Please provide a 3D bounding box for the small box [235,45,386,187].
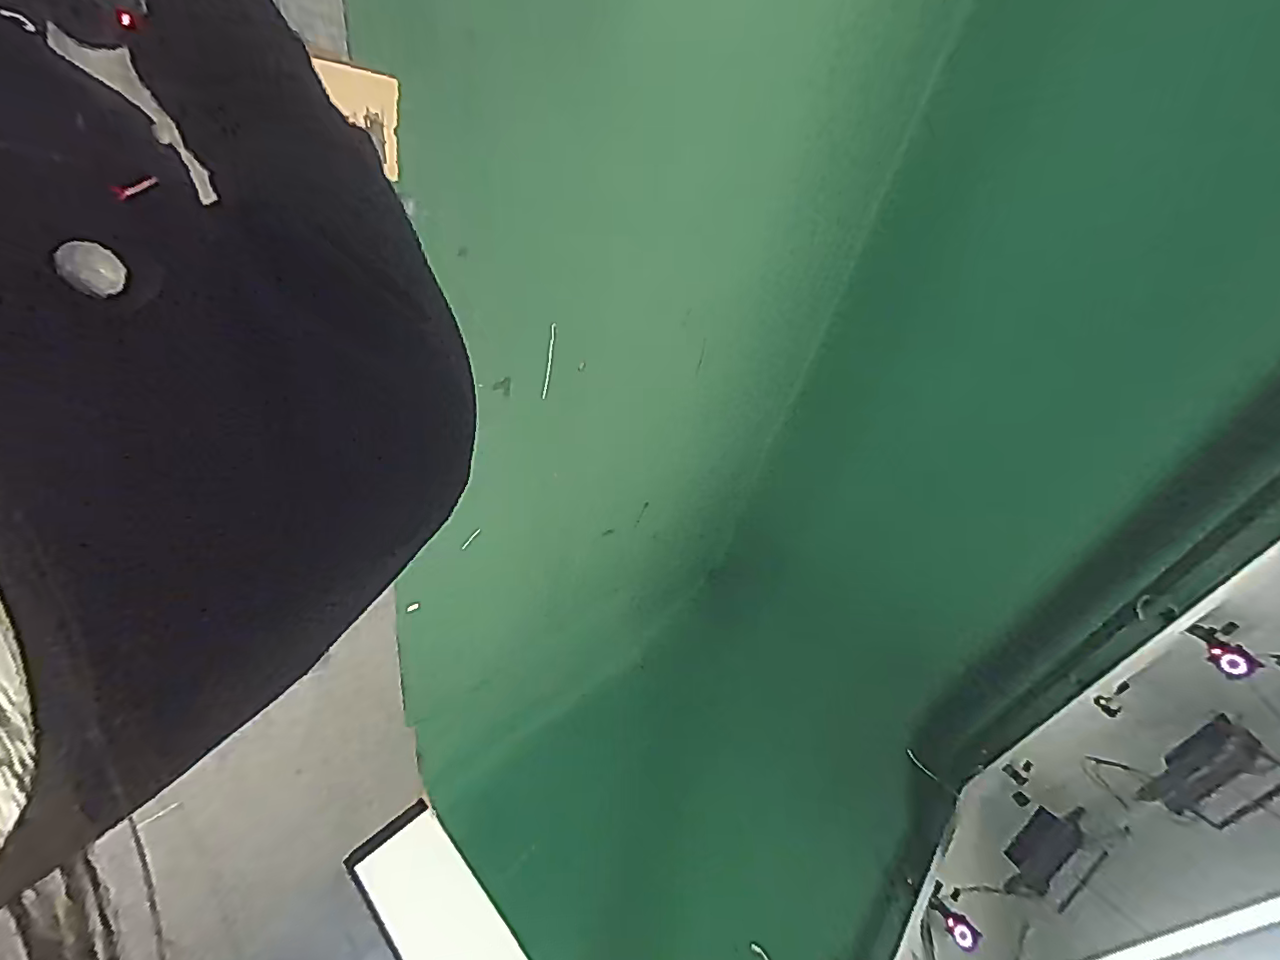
[{"bbox_3d":[-0.576,-0.640,0.956,0.179,0.176,0.168,-22,138,-45],"label":"small box"}]
